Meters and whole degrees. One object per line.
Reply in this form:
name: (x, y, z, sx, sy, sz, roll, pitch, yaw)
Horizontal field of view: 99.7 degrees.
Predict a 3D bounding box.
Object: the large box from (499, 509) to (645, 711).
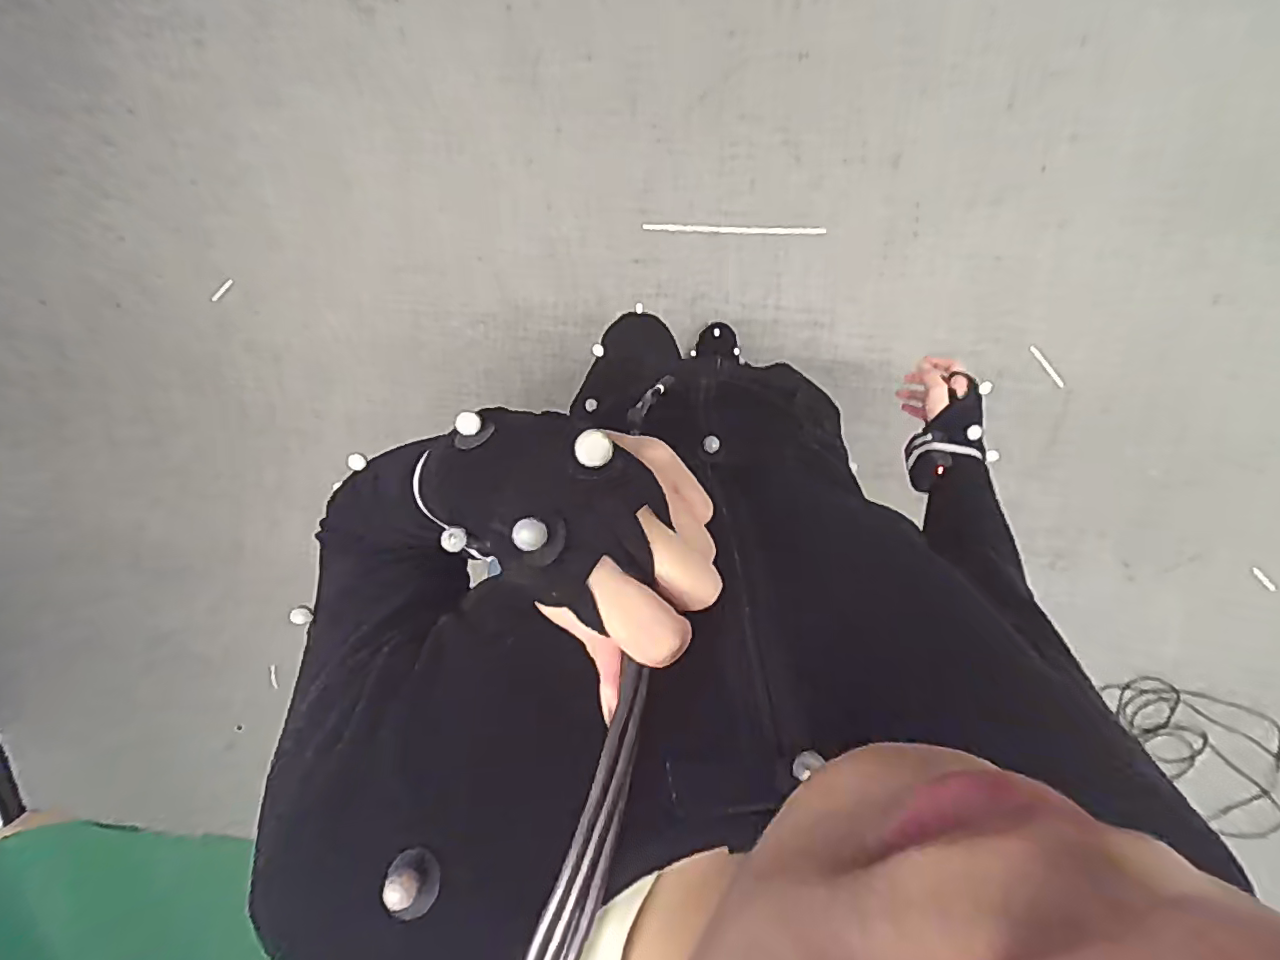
large box: (-0.170, 0.328, 1.446, 0.320, 0.320, 0.408, 10, 108, 4)
